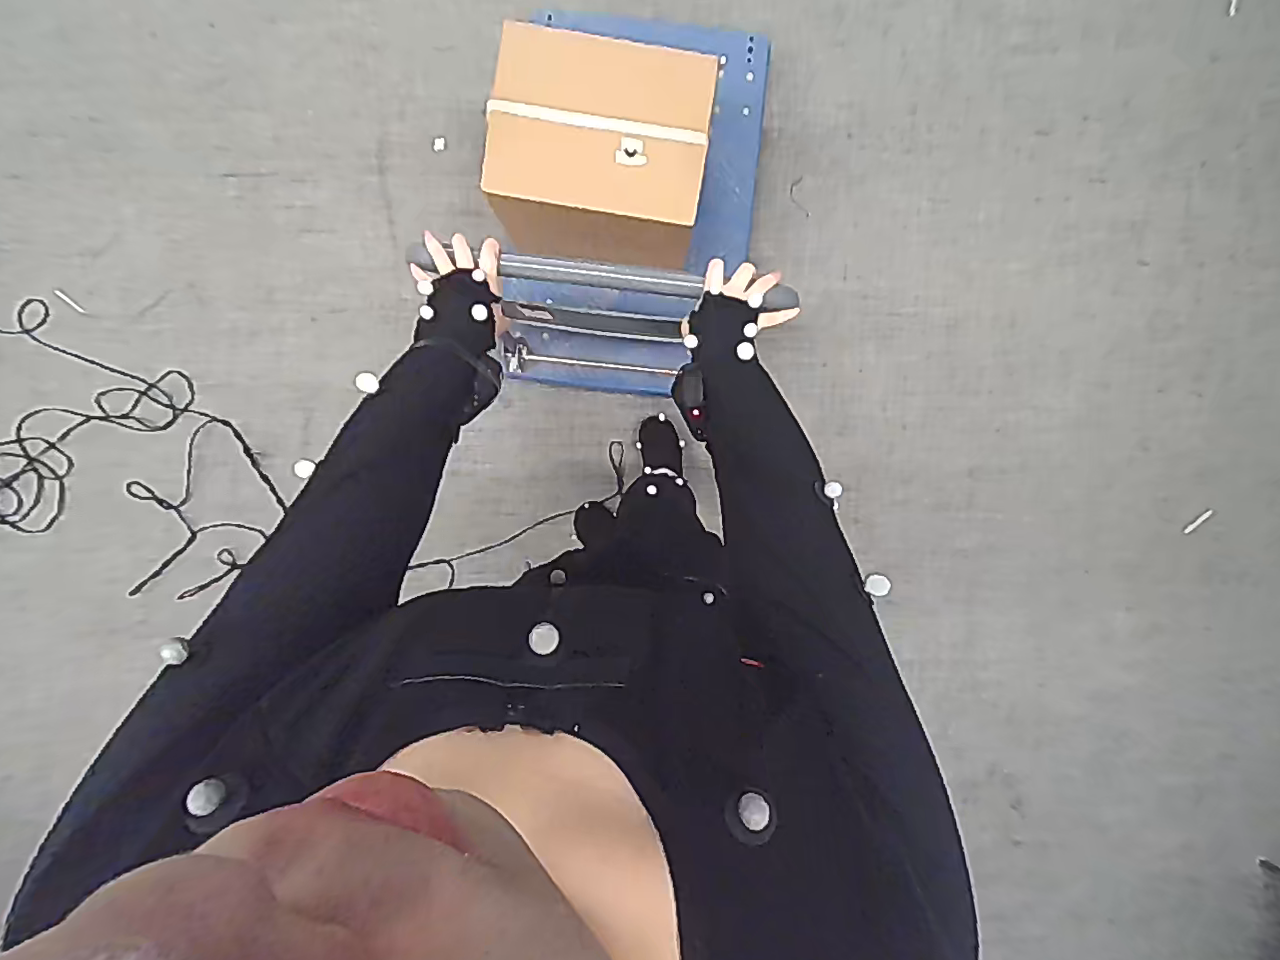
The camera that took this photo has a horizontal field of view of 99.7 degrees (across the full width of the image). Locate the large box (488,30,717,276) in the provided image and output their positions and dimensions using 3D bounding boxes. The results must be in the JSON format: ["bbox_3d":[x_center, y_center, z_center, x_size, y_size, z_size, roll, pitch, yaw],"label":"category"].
[{"bbox_3d":[-0.077,-0.668,1.166,0.408,0.320,0.320,9,92,-2],"label":"large box"}]
